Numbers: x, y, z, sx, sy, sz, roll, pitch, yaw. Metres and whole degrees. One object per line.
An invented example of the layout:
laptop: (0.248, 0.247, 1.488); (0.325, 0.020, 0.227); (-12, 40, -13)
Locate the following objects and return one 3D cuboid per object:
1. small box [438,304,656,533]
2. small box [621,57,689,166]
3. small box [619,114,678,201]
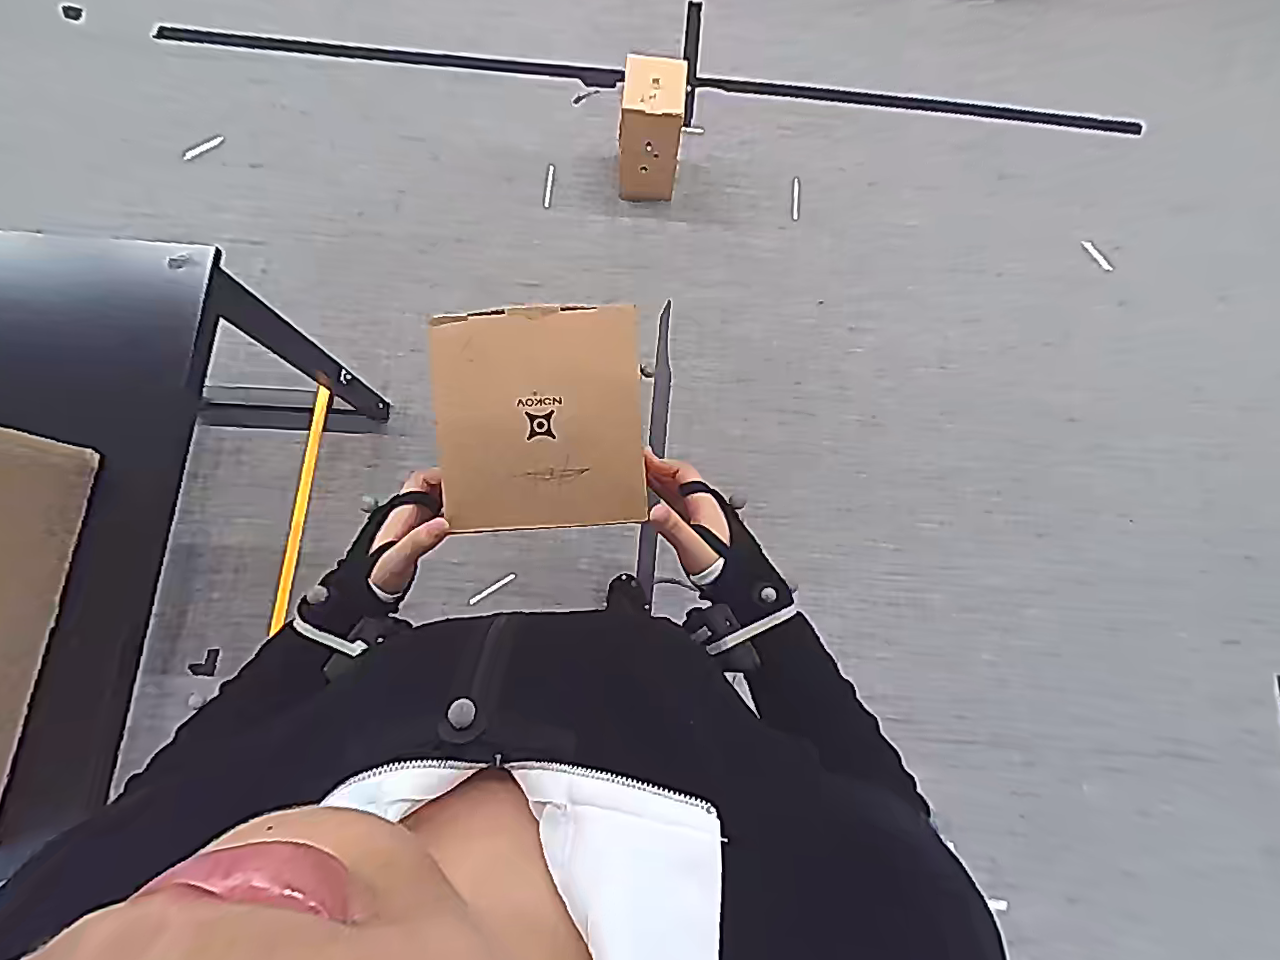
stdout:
small box: (-0.074, -0.051, 0.503); (0.168, 0.176, 0.179); (-3, 94, -1)
small box: (0.038, -1.022, 1.509); (0.168, 0.176, 0.179); (5, 79, -2)
small box: (0.023, -0.990, 1.670); (0.179, 0.176, 0.168); (2, 79, -3)
